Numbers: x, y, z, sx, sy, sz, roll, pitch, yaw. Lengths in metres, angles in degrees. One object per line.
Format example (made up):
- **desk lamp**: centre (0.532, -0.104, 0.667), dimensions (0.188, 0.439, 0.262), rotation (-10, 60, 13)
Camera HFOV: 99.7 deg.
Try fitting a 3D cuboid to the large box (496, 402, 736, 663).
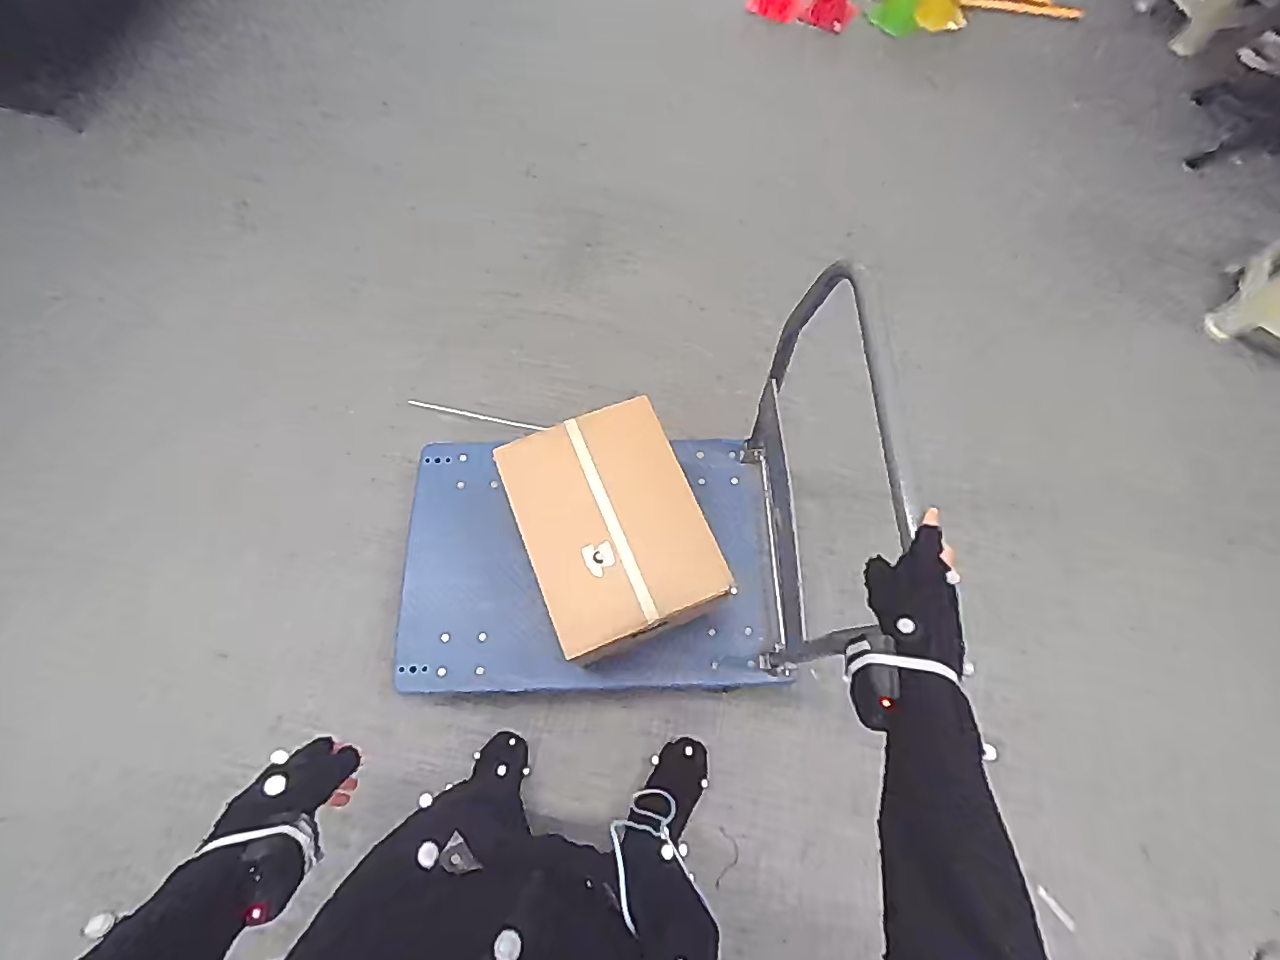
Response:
- **large box**: centre (-0.057, 0.120, 1.113), dimensions (0.320, 0.320, 0.408), rotation (-22, 72, -9)
